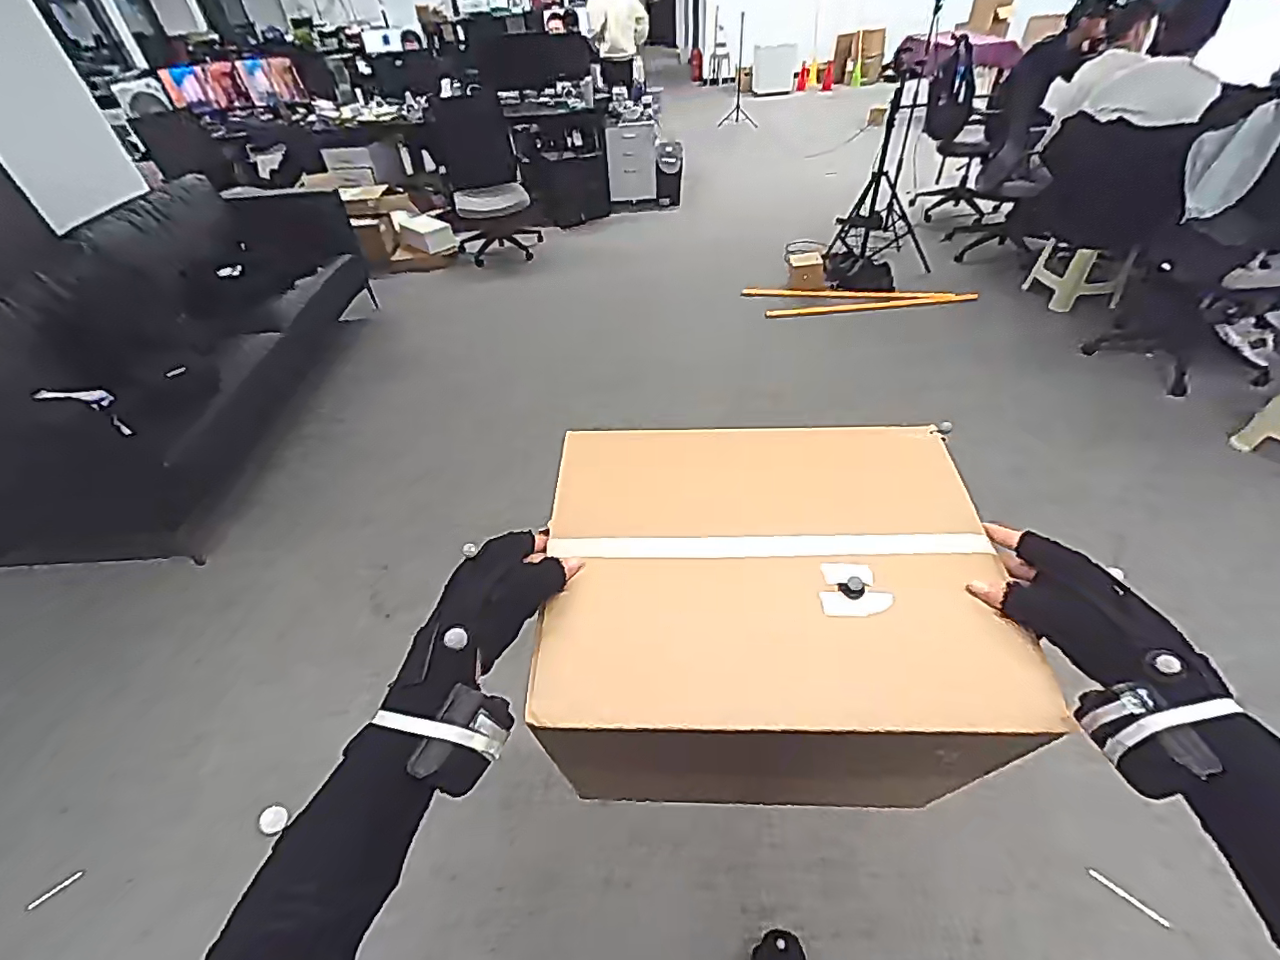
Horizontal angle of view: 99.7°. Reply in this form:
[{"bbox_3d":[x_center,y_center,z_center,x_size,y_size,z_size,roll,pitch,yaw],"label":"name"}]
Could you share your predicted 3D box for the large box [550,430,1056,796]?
[{"bbox_3d":[0.128,0.161,0.628,0.408,0.320,0.320,-1,51,2],"label":"large box"}]
